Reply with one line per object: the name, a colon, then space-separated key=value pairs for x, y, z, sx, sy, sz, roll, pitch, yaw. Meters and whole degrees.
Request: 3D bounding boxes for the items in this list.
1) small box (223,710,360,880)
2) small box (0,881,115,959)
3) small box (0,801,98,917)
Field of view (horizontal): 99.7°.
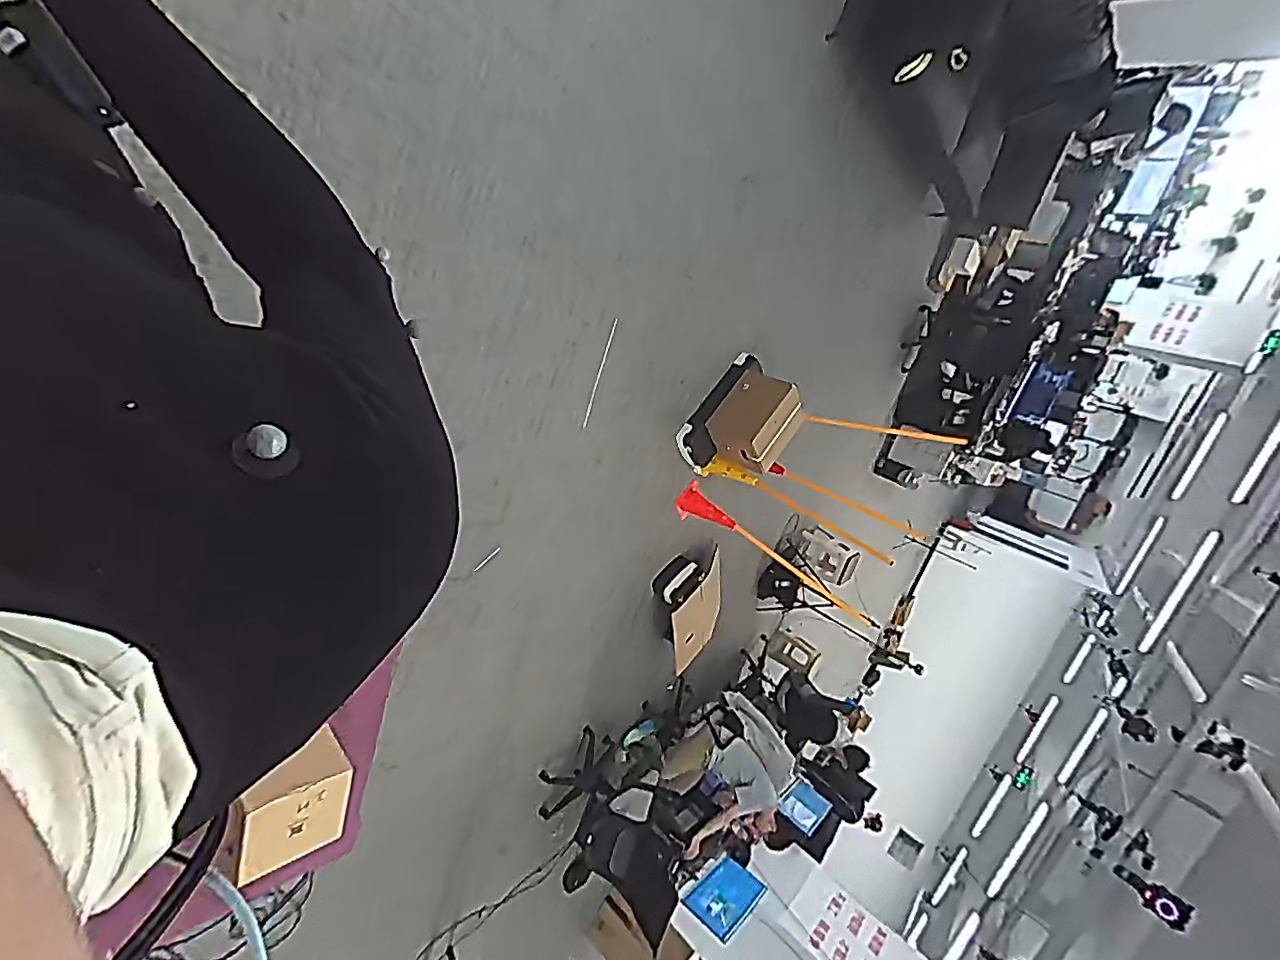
small box: x=-0.651 y=0.570 z=1.004 sx=0.168 sy=0.176 sz=0.179 roll=-3 pitch=116 yaw=-51
small box: x=-0.752 y=0.639 z=0.642 sx=0.179 sy=0.176 sz=0.168 roll=-1 pitch=113 yaw=-51
small box: x=-0.870 y=0.579 z=0.735 sx=0.168 sy=0.176 sz=0.179 roll=-2 pitch=115 yaw=-51
